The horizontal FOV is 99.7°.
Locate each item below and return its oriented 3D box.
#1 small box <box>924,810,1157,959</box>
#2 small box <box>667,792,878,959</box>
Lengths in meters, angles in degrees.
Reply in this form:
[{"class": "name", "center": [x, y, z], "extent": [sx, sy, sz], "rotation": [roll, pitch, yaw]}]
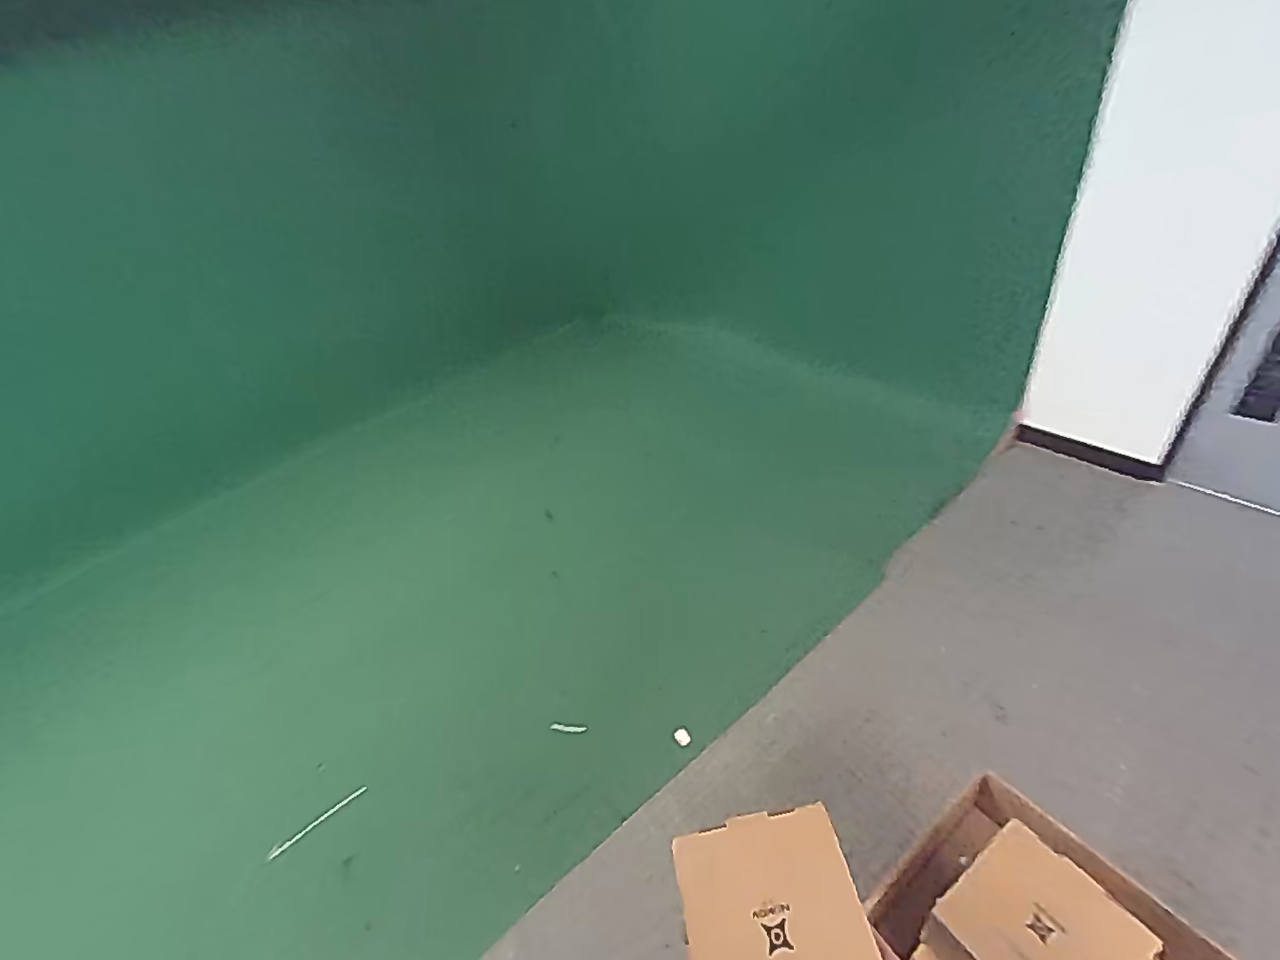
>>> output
[{"class": "small box", "center": [0.492, 0.578, 0.693], "extent": [0.179, 0.176, 0.168], "rotation": [-32, 41, -17]}, {"class": "small box", "center": [0.130, 0.458, 0.554], "extent": [0.168, 0.176, 0.179], "rotation": [-14, 42, -1]}]
